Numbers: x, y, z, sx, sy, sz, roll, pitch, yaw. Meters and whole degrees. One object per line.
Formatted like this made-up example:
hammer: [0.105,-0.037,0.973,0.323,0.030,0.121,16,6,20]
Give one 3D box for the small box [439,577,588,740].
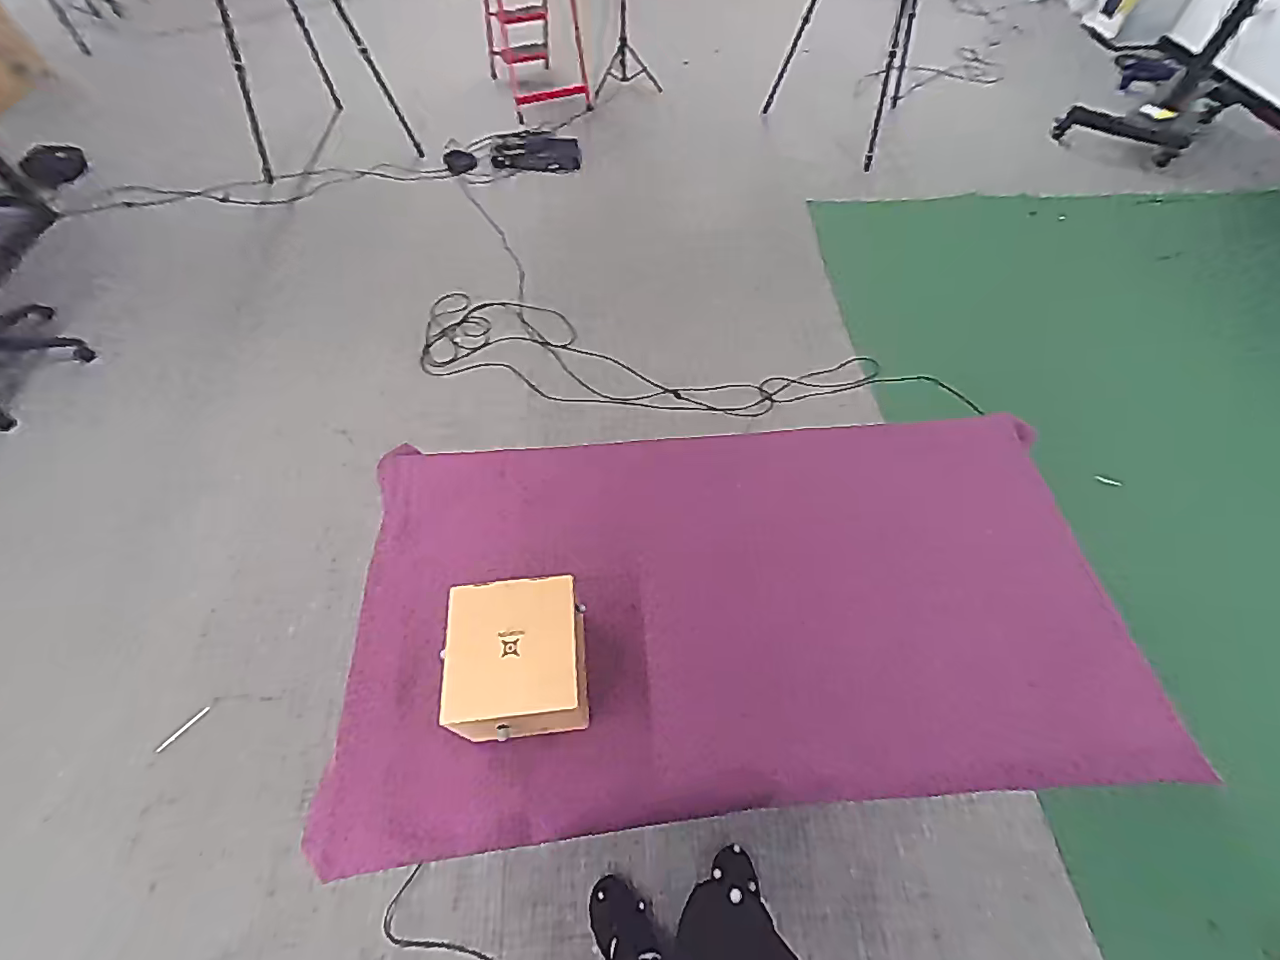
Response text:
small box: [-0.165,0.255,0.753,0.168,0.176,0.179,-5,57,-4]
